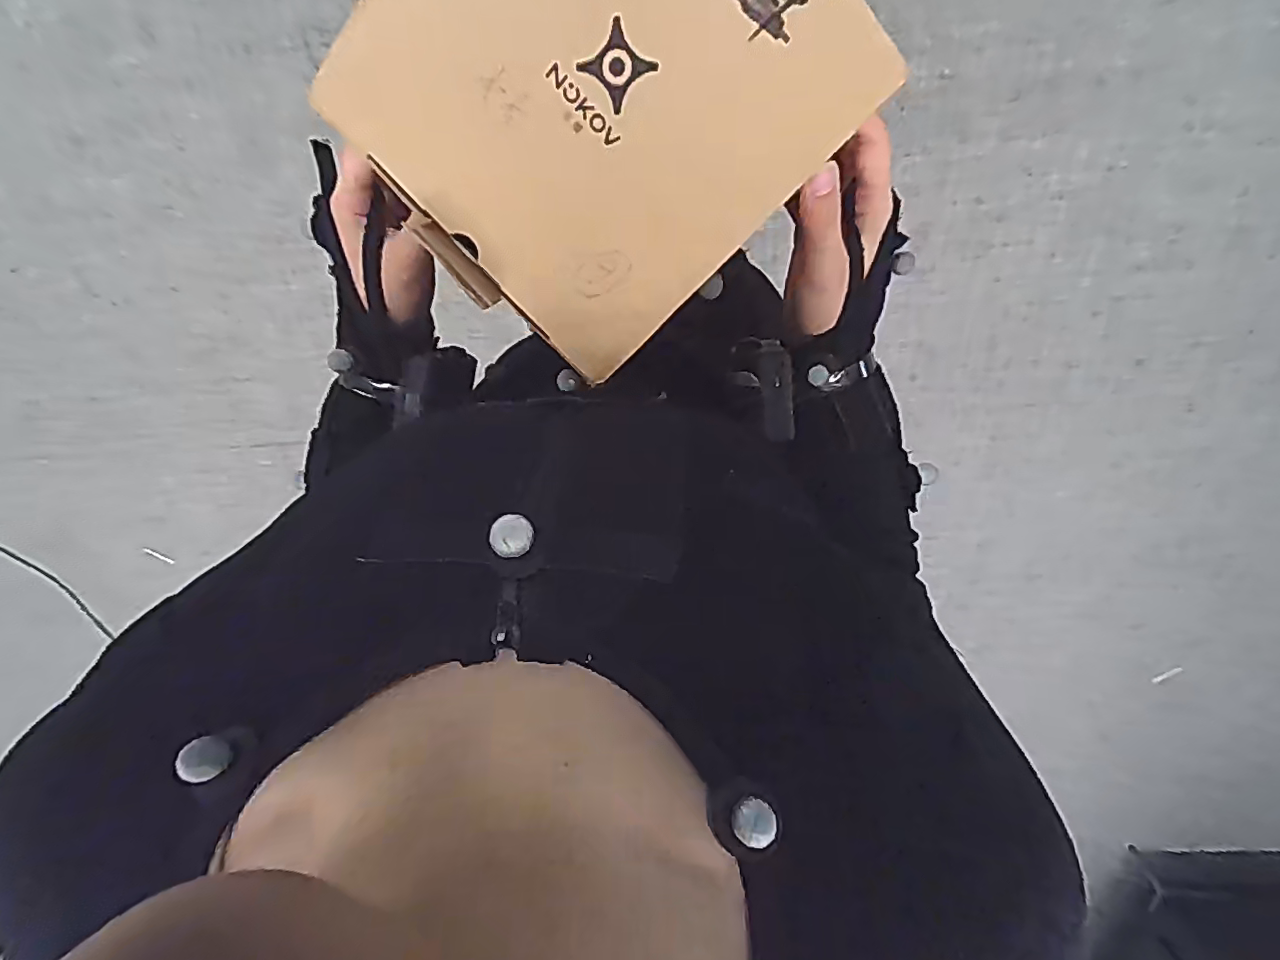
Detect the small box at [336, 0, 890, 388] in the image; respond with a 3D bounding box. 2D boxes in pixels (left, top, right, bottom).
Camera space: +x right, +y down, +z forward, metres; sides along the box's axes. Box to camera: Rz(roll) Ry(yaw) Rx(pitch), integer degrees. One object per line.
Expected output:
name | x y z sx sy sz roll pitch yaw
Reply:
small box | -0.010 -0.179 0.297 0.179 0.176 0.168 -42 103 16
